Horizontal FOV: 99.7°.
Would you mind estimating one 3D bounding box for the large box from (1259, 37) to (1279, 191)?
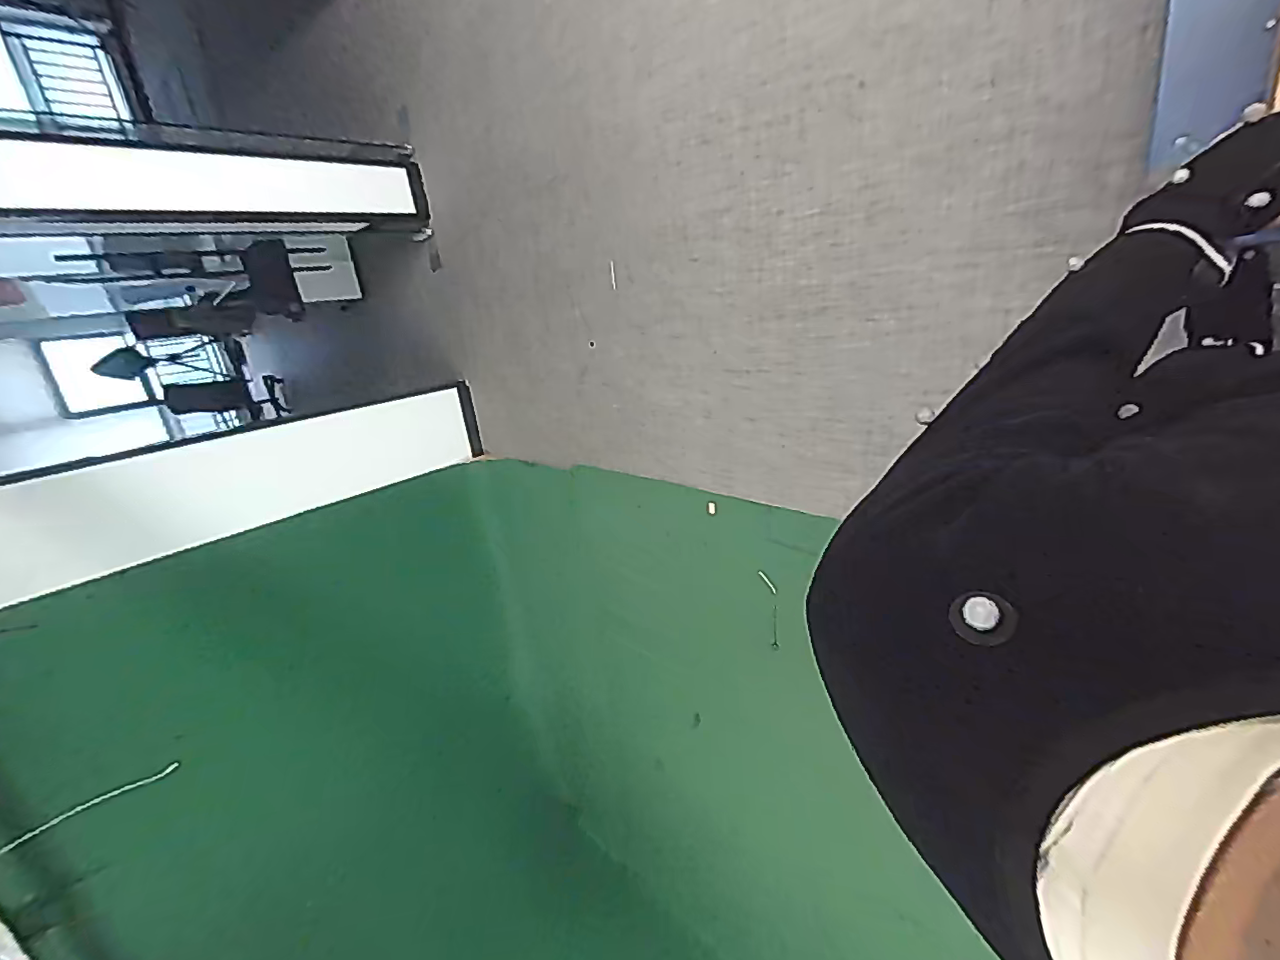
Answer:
[{"bbox_3d":[1.005,-0.613,0.647,0.320,0.320,0.408,9,113,44],"label":"large box"}]
